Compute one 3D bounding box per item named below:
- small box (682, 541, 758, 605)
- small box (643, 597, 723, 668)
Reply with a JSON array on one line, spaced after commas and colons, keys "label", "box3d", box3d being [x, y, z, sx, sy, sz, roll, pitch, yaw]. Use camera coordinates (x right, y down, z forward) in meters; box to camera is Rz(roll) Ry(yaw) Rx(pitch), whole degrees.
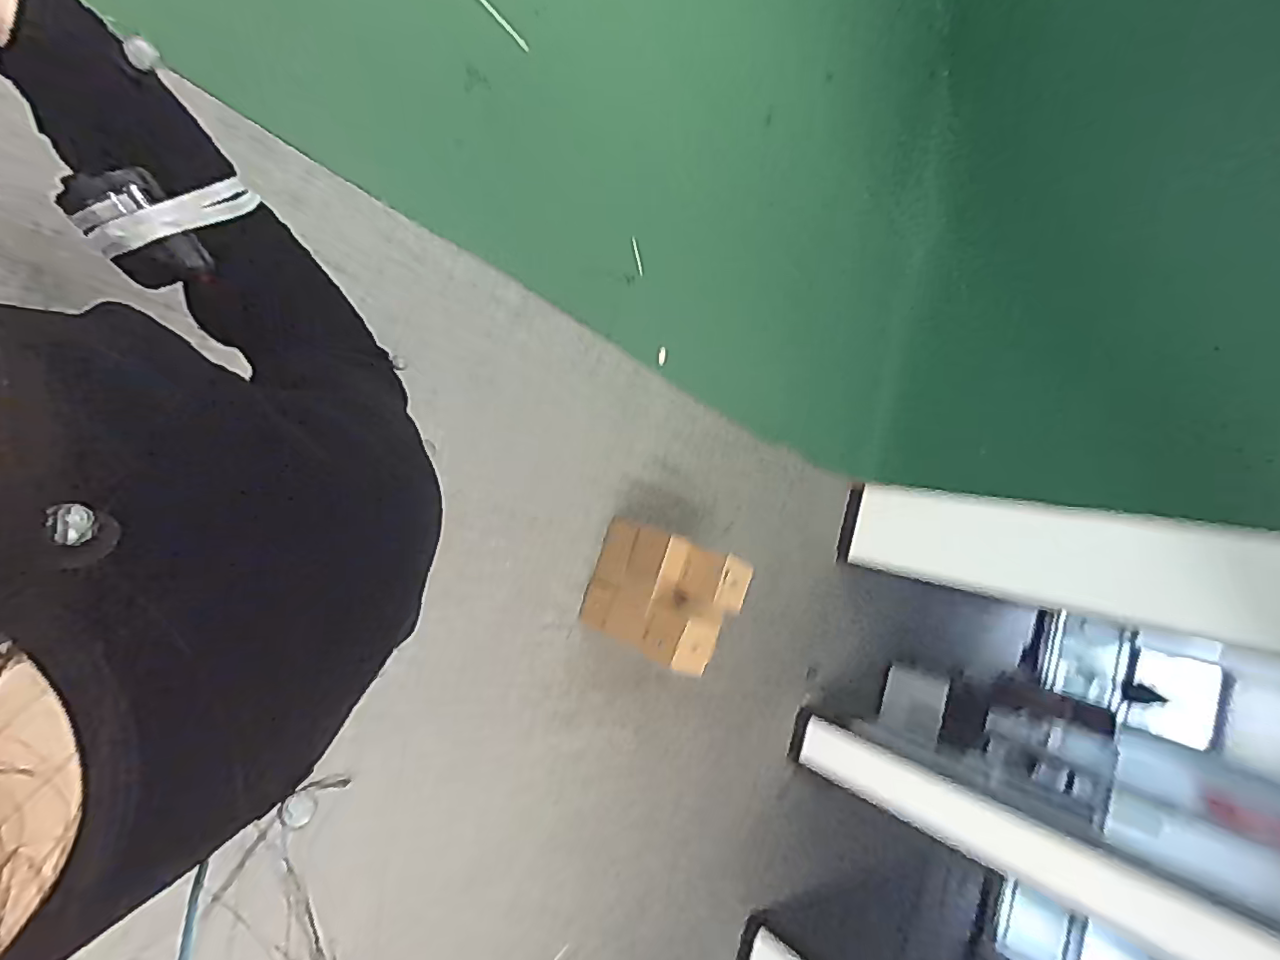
[{"label": "small box", "box3d": [0.277, 0.321, 1.885, 0.179, 0.176, 0.168, 30, 75, -44]}, {"label": "small box", "box3d": [0.138, 0.499, 1.782, 0.179, 0.176, 0.168, 31, 78, -43]}]
